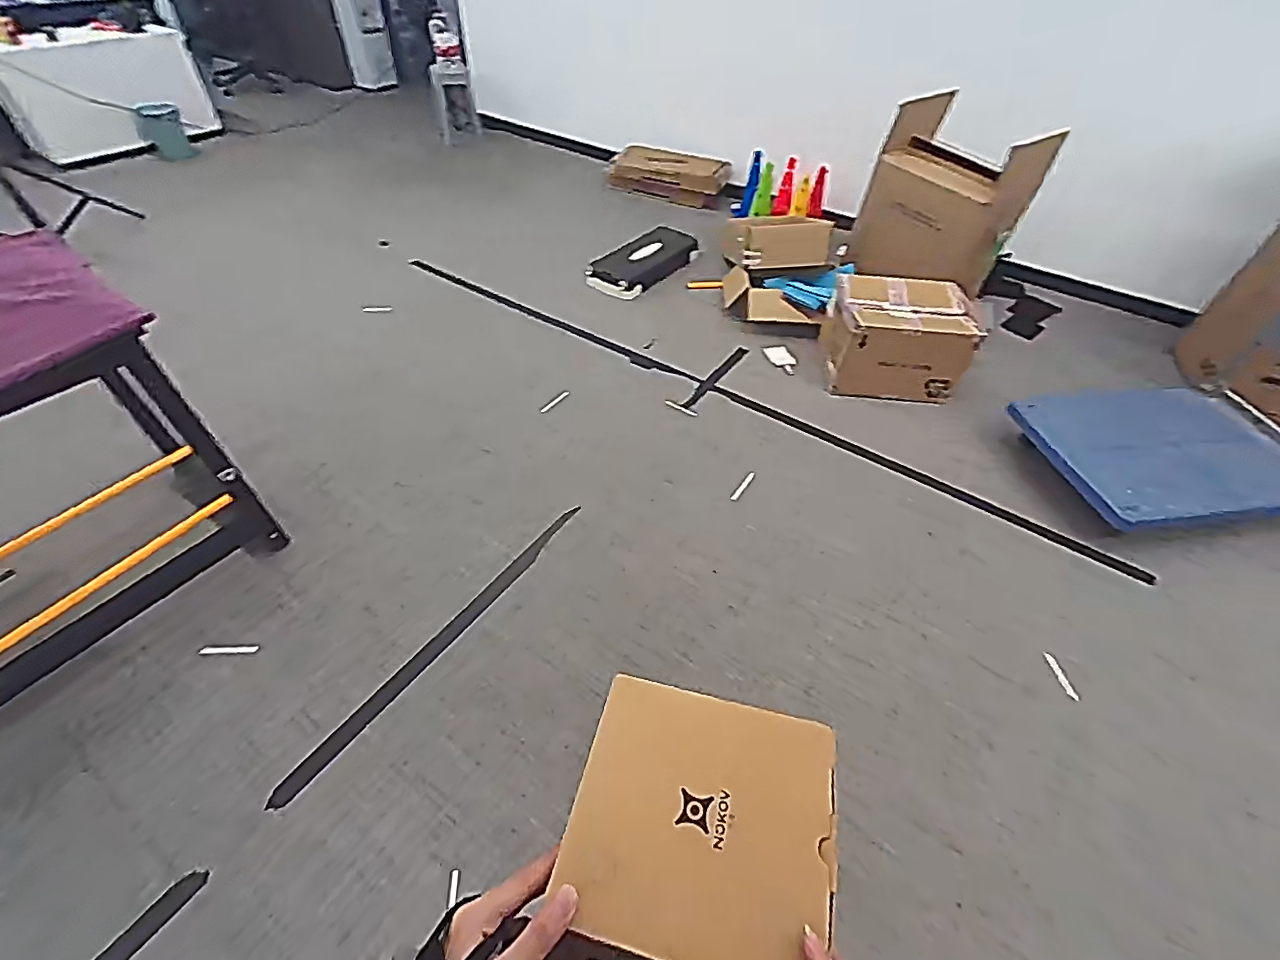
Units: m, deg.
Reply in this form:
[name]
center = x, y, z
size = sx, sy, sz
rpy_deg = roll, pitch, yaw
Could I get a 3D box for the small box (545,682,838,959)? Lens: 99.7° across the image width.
[small box]
center = 0.048, 0.289, 0.422
size = 0.179, 0.176, 0.168
rpy_deg = 9, 45, 12
